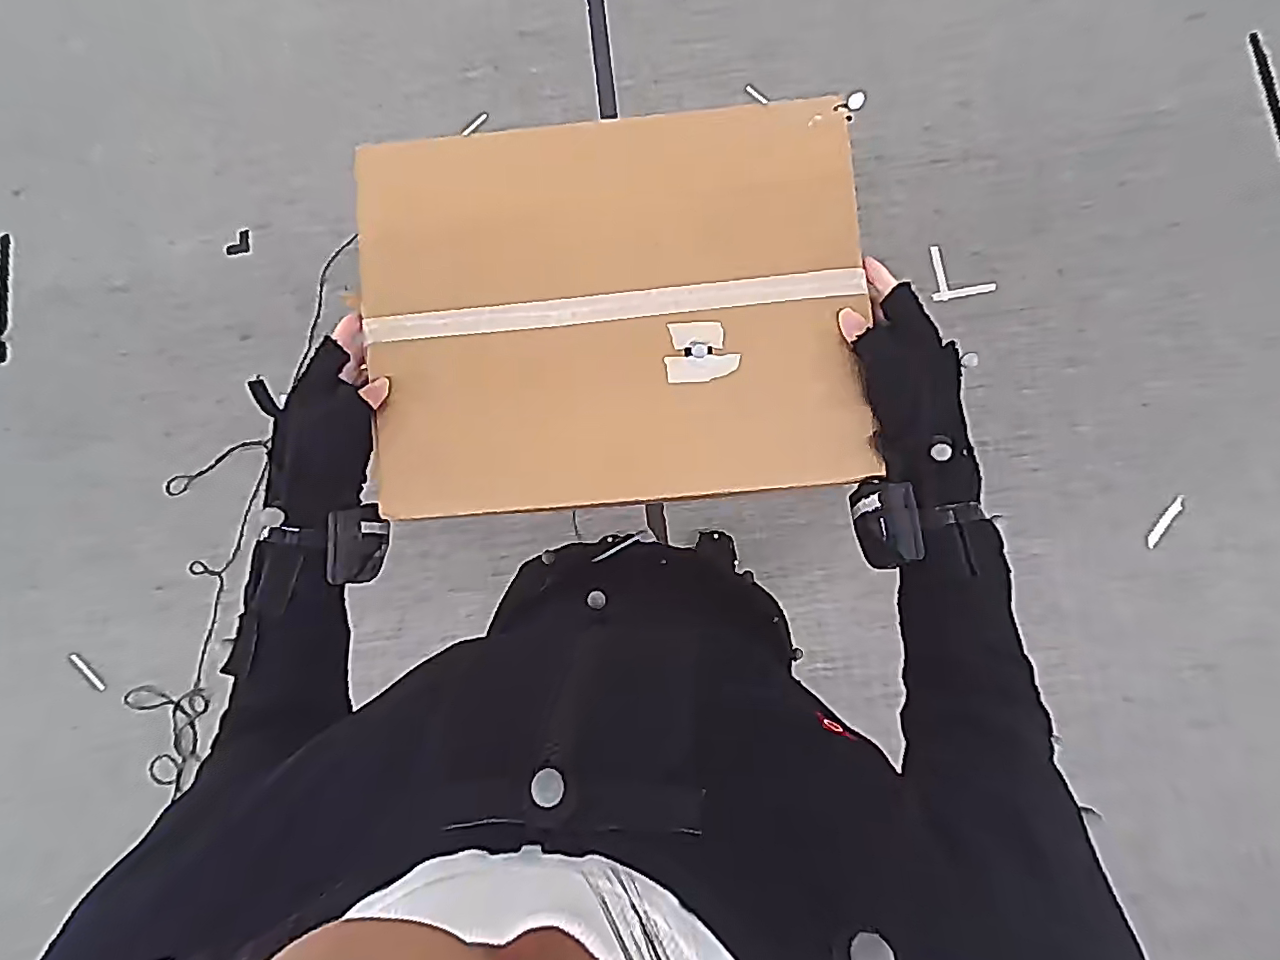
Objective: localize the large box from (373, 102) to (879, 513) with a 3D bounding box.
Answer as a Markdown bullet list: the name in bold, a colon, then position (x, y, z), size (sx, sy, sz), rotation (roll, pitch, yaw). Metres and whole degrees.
- **large box**: position (-0.014, -0.139, 0.598), size (0.408, 0.320, 0.320), rotation (-5, 88, 1)
